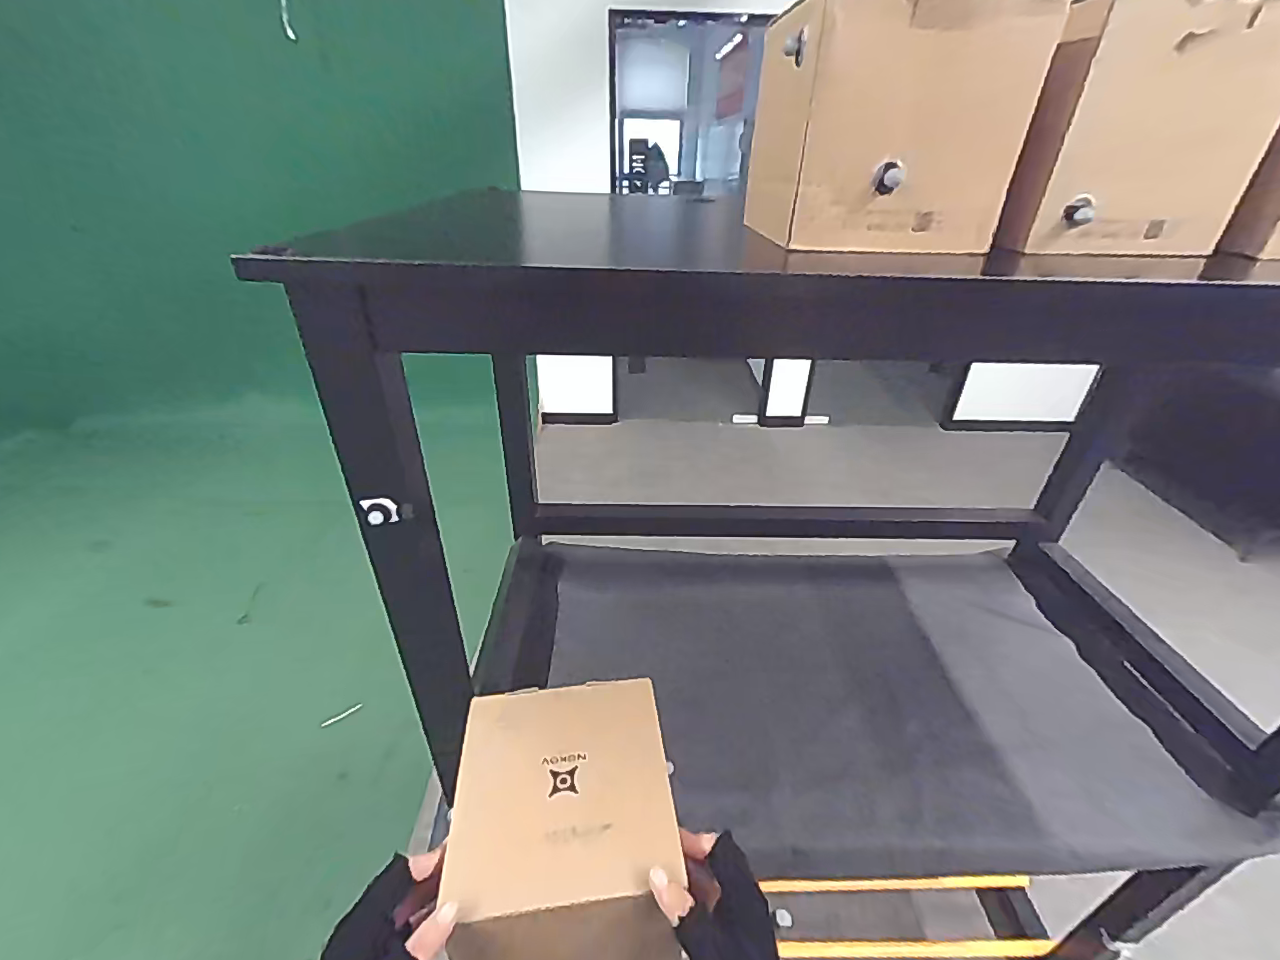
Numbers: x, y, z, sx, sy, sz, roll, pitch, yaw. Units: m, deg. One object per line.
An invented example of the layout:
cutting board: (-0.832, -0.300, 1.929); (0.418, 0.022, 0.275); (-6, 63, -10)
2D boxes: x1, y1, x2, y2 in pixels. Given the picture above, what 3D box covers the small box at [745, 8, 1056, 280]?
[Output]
small box: (0.197, -0.284, 0.476); (0.168, 0.176, 0.179); (0, 32, -3)
